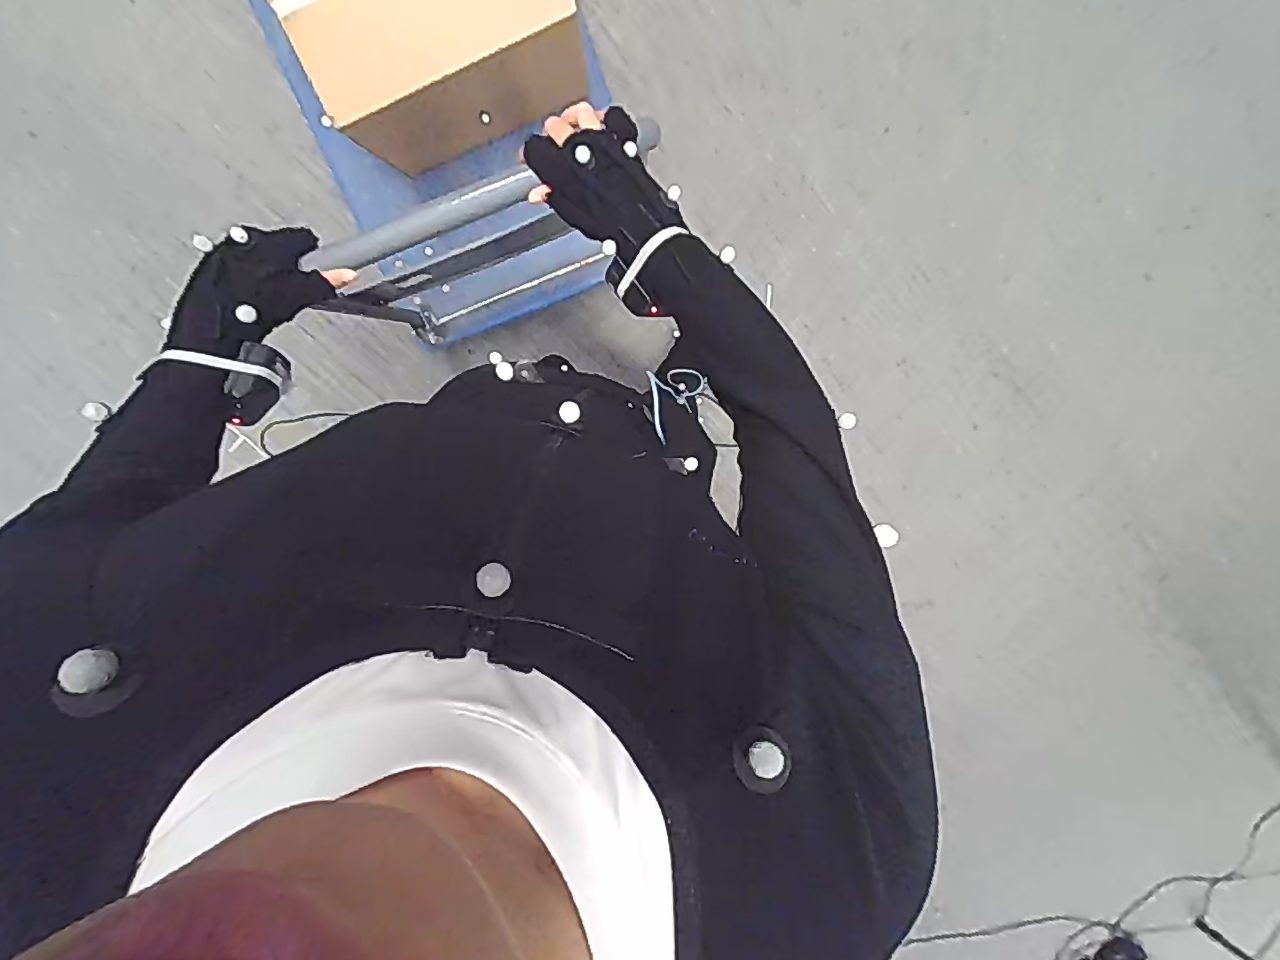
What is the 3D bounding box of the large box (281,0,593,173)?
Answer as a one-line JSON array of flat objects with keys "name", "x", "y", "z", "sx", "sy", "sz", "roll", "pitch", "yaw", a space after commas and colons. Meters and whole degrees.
[{"name": "large box", "x": -0.329, "y": -0.790, "z": 0.914, "sx": 0.408, "sy": 0.320, "sz": 0.320, "roll": -22, "pitch": 106, "yaw": 6}]
